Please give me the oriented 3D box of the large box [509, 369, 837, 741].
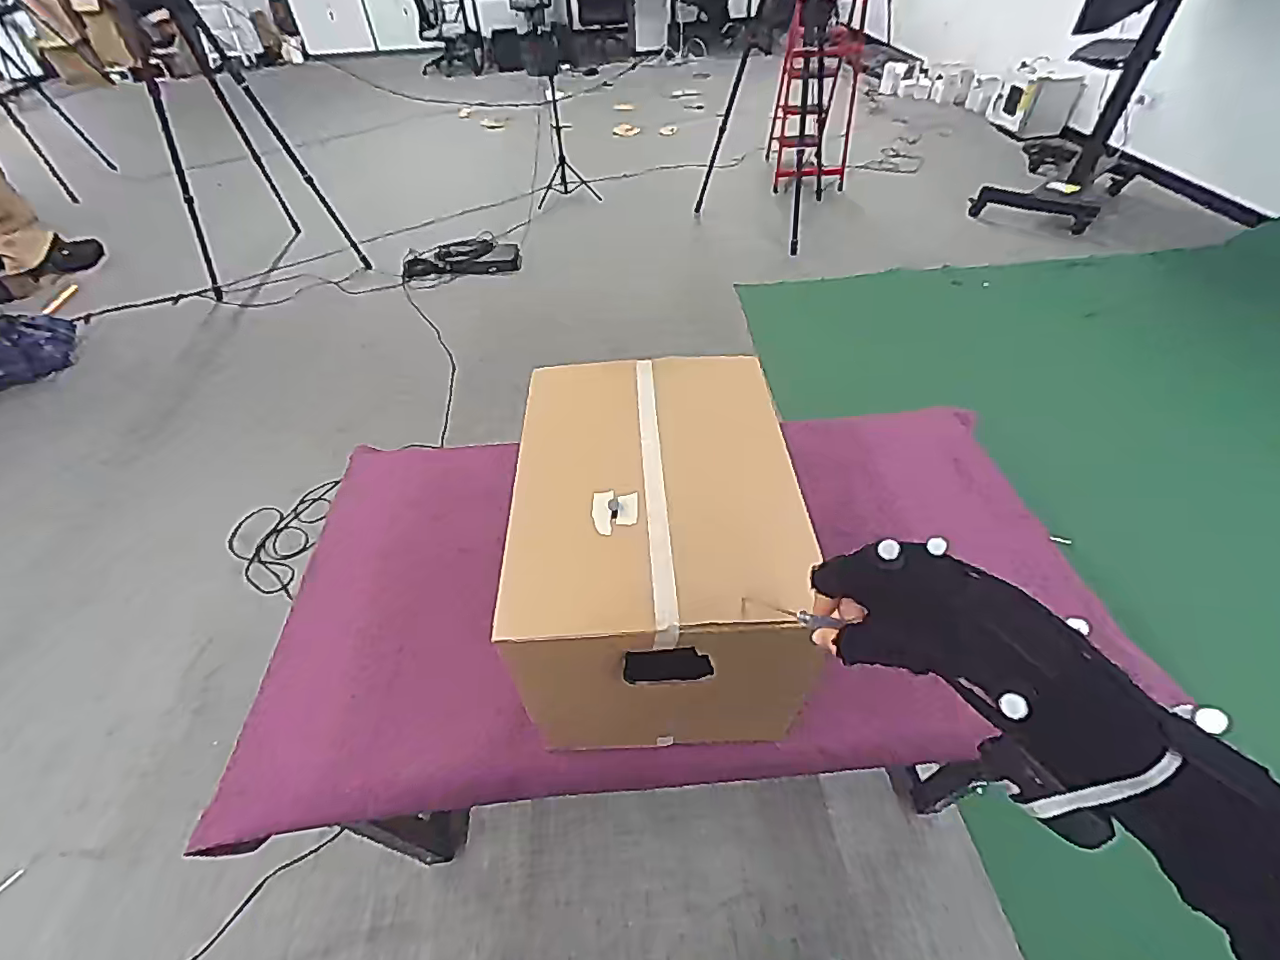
[{"bbox_3d":[0.022,0.094,0.738,0.320,0.320,0.408,-3,48,0],"label":"large box"}]
